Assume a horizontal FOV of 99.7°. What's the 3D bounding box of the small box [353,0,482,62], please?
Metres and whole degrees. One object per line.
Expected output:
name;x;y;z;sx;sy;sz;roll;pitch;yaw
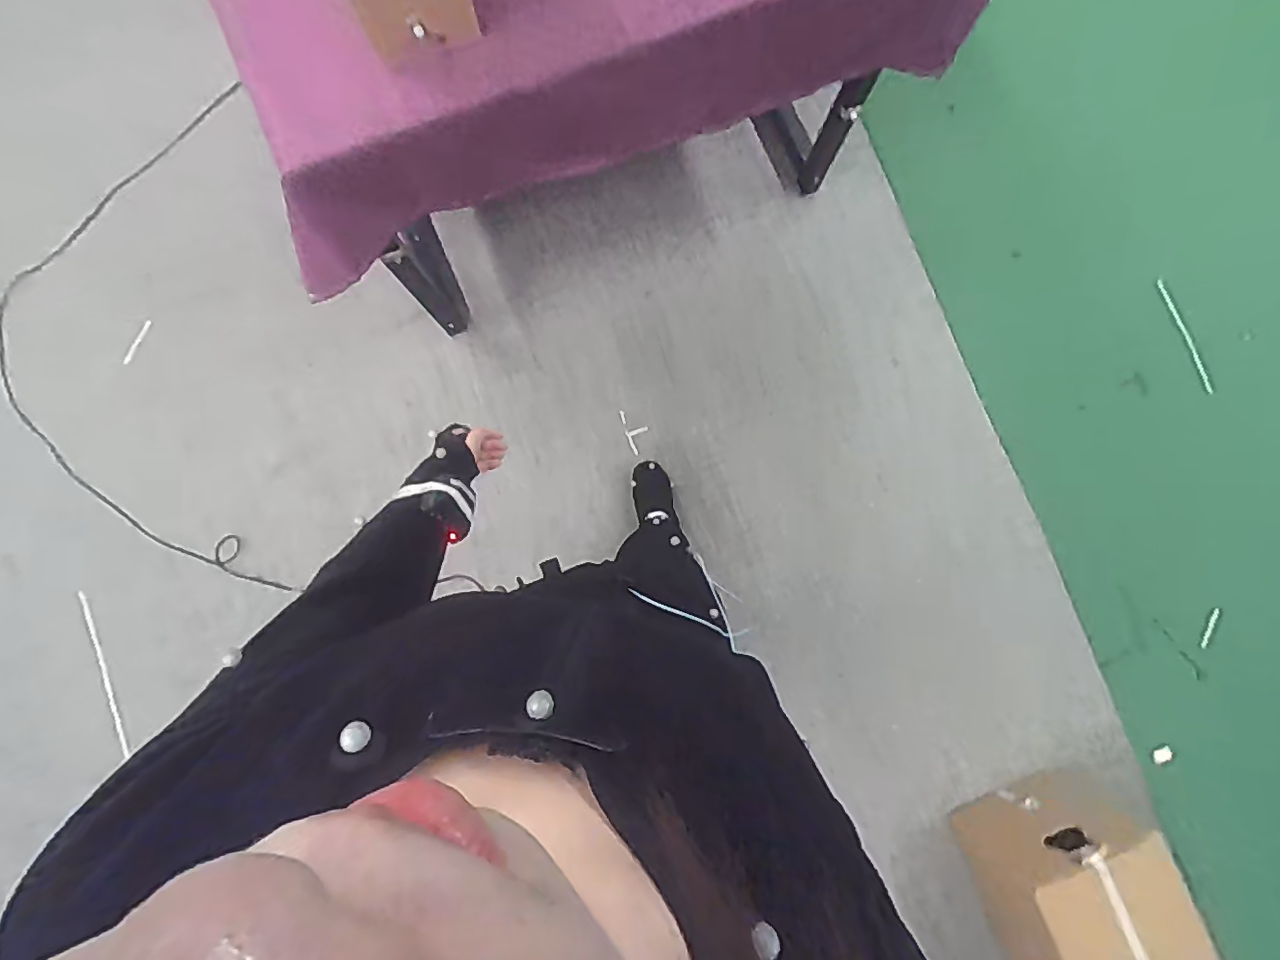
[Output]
small box;-0.344;-0.755;0.766;0.168;0.176;0.179;-20;86;-3

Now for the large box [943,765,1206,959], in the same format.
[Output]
large box;1.026;0.997;1.301;0.320;0.320;0.408;-21;87;-4
